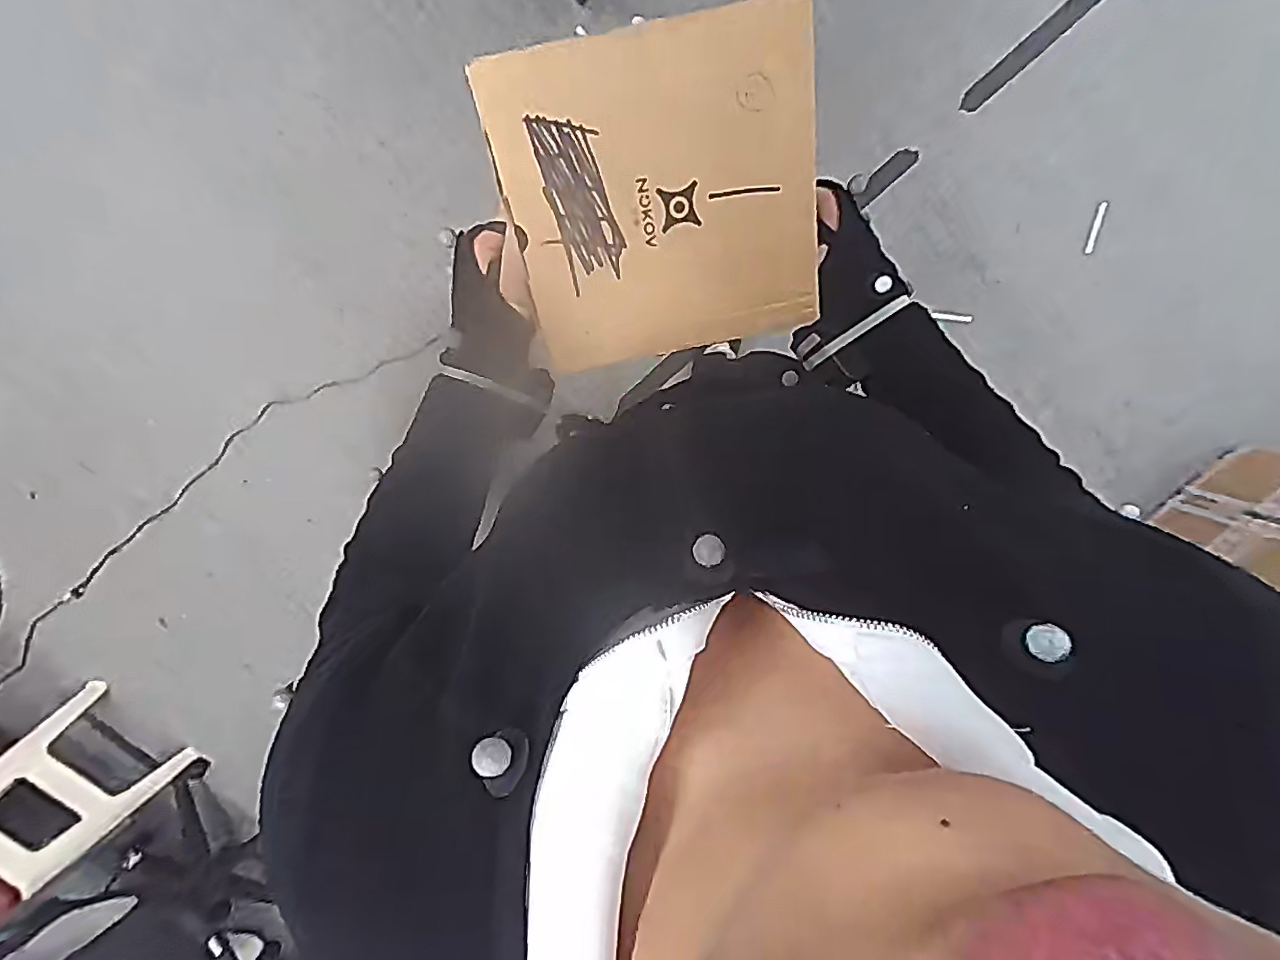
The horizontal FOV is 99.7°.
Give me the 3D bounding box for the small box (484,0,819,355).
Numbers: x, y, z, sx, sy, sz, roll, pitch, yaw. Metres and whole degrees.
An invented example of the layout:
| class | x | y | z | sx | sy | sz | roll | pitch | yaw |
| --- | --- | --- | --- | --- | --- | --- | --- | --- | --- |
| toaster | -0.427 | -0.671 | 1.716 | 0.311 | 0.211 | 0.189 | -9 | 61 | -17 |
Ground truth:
| class | x | y | z | sx | sy | sz | roll | pitch | yaw |
| --- | --- | --- | --- | --- | --- | --- | --- | --- | --- |
| small box | 0.012 | -0.203 | 0.381 | 0.179 | 0.176 | 0.168 | -11 | 120 | 1 |
